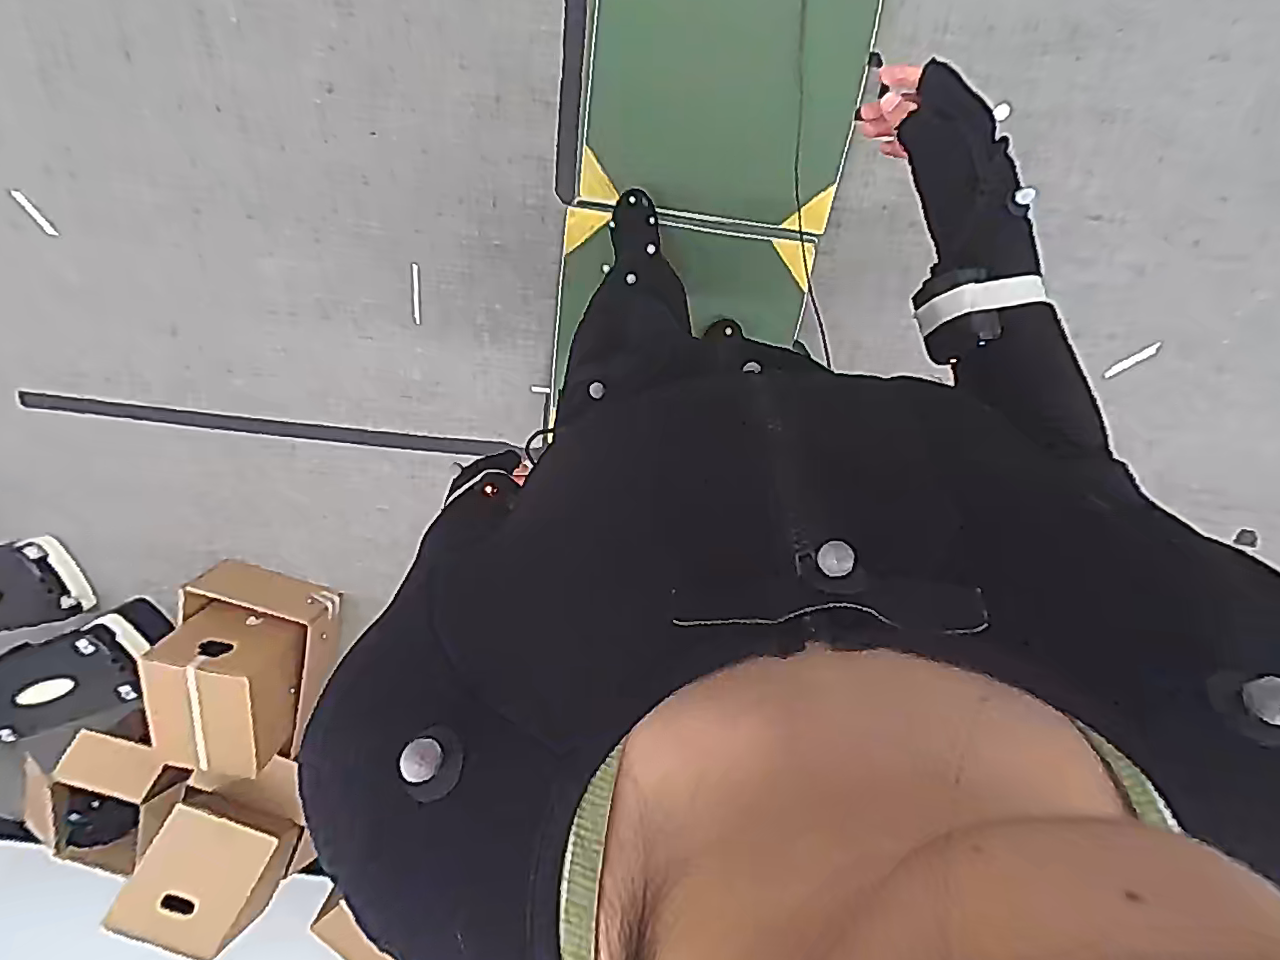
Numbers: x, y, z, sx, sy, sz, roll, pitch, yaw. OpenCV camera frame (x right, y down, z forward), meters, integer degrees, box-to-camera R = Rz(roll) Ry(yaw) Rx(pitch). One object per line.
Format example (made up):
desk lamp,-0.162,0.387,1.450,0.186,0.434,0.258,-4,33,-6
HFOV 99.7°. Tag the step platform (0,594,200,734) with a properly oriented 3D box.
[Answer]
step platform,-1.928,0.642,1.874,0.684,0.204,0.286,-21,109,10
